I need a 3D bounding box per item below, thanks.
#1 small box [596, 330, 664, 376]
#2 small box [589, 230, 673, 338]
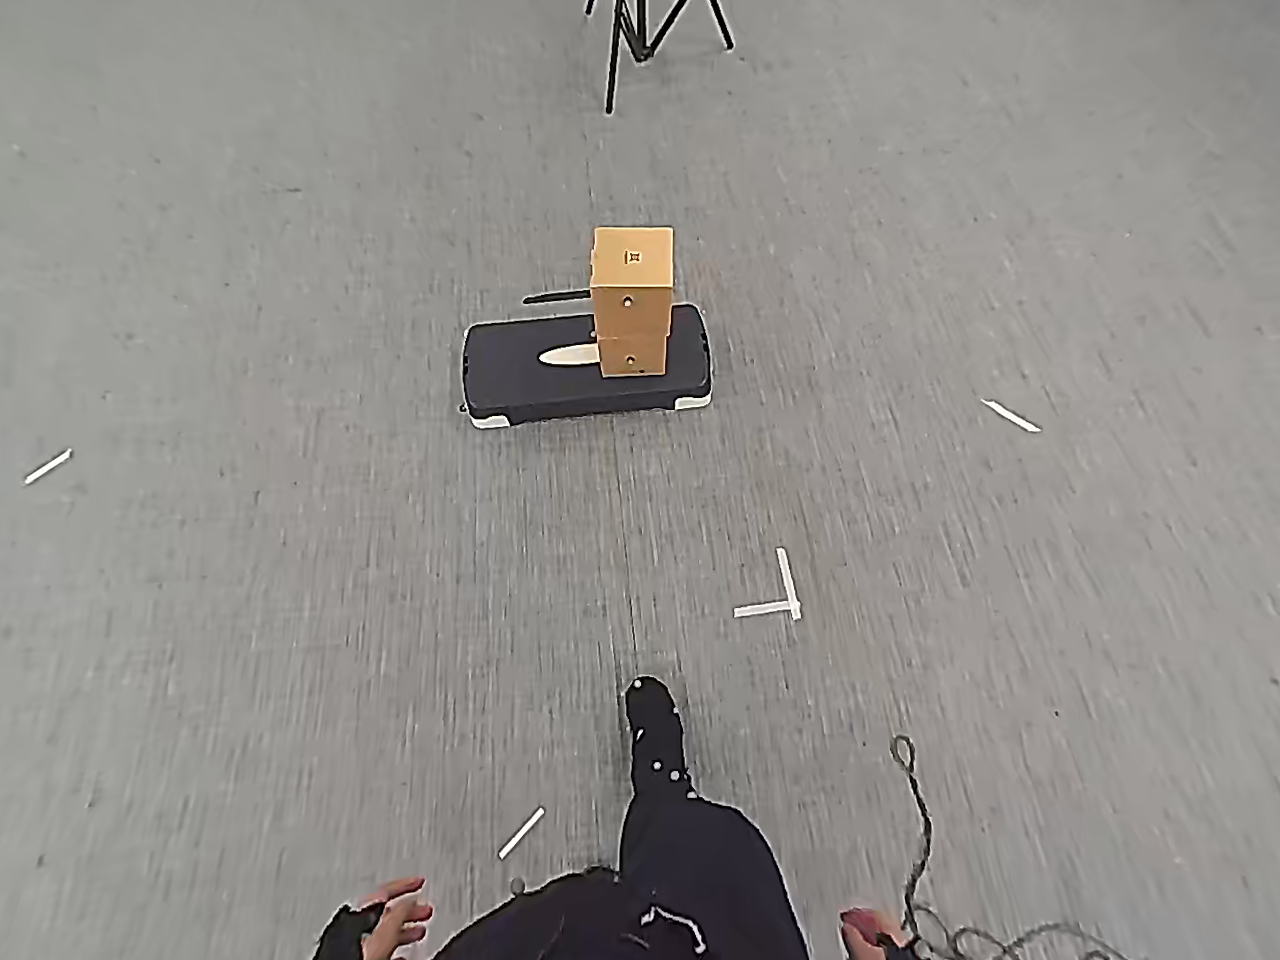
[{"bbox_3d":[-0.023,-0.376,1.376,0.168,0.176,0.179,-2,68,0],"label":"small box"},{"bbox_3d":[-0.015,-0.438,1.226,0.179,0.176,0.168,0,69,2],"label":"small box"}]
